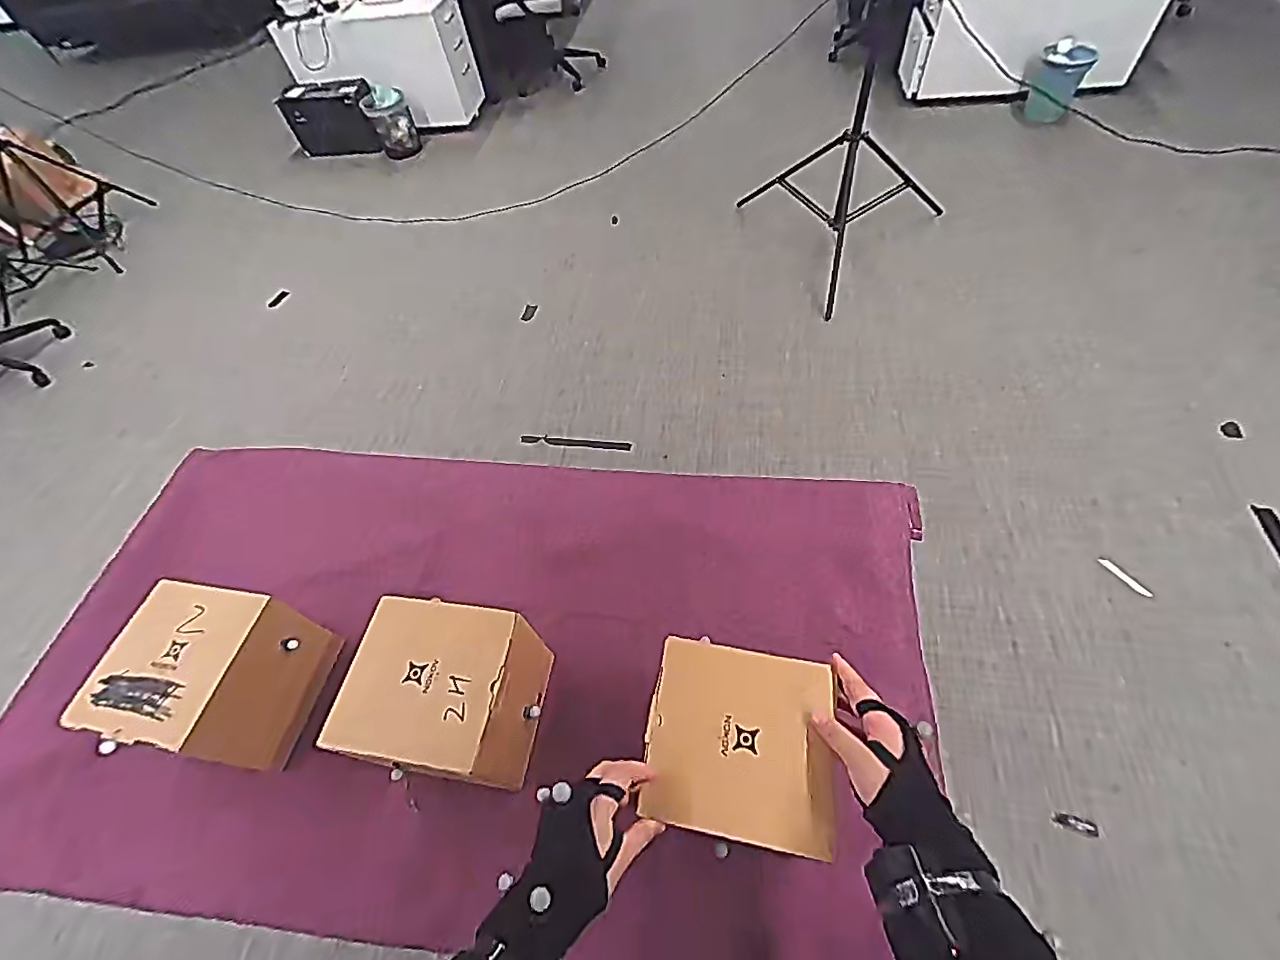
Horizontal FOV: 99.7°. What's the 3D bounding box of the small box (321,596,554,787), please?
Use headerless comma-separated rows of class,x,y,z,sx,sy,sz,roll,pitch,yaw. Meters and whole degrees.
small box,-0.220,0.255,0.644,0.179,0.176,0.168,5,56,10
